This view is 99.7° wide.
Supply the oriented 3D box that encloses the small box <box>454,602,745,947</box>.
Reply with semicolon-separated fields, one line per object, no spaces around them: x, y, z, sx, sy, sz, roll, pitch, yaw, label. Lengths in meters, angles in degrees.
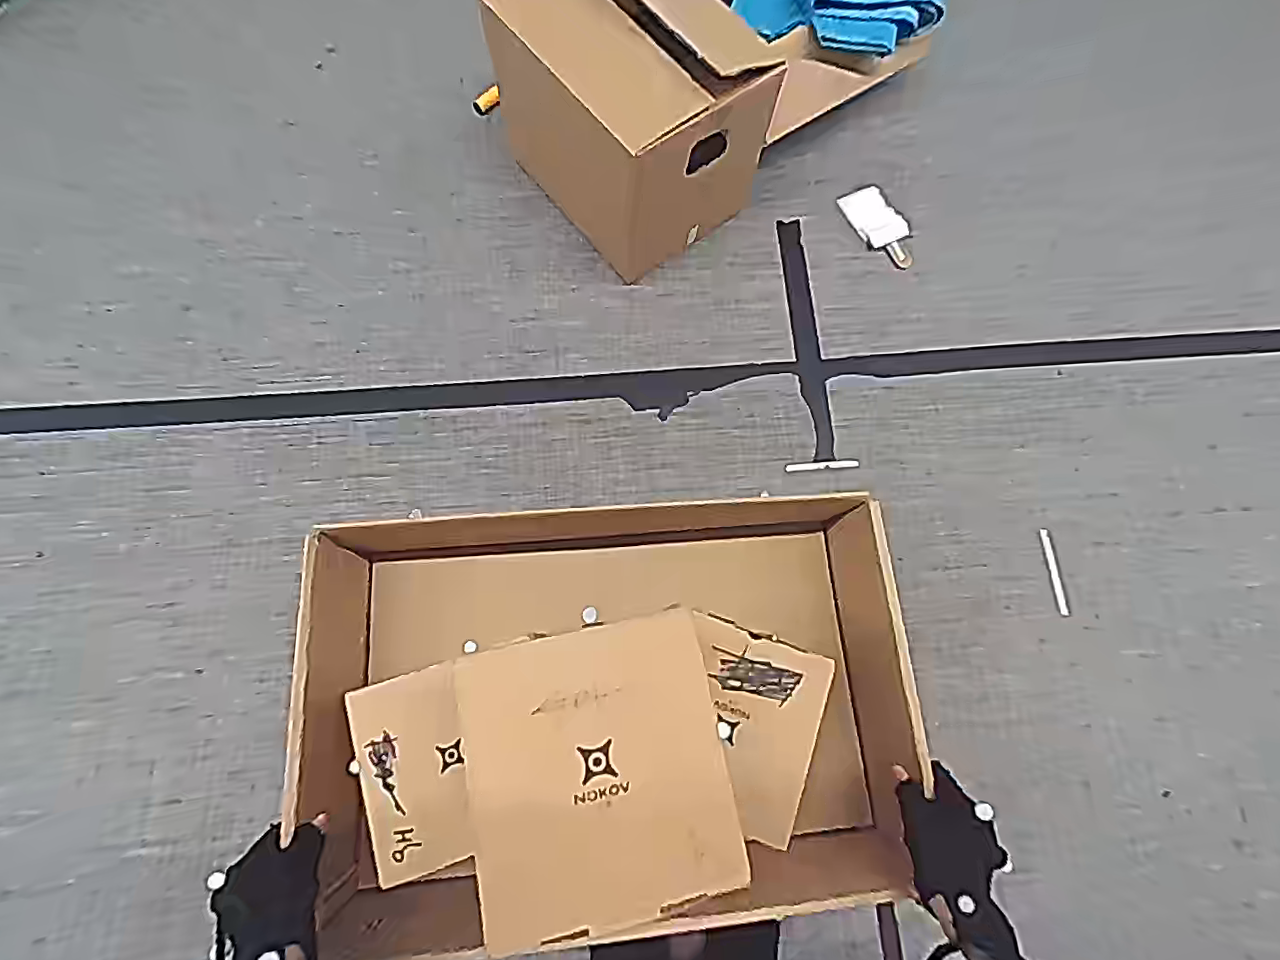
-0.034;0.202;0.425;0.168;0.176;0.179;-11;75;-8;small box
